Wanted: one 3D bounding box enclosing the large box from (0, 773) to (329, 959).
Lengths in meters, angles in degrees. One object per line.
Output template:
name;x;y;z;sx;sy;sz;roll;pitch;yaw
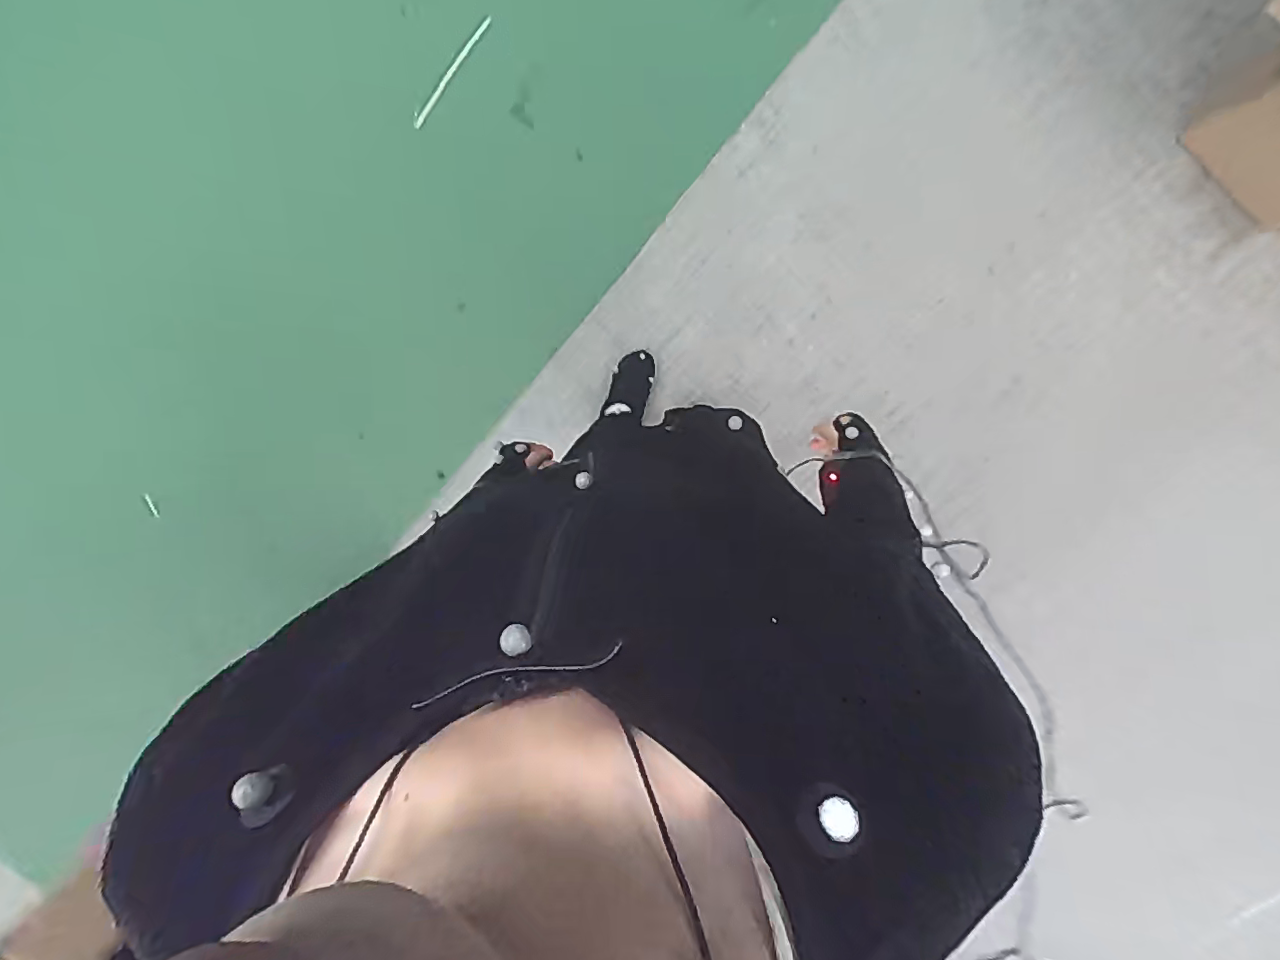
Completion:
large box;-0.814;0.789;0.870;0.320;0.320;0.408;42;102;-4
